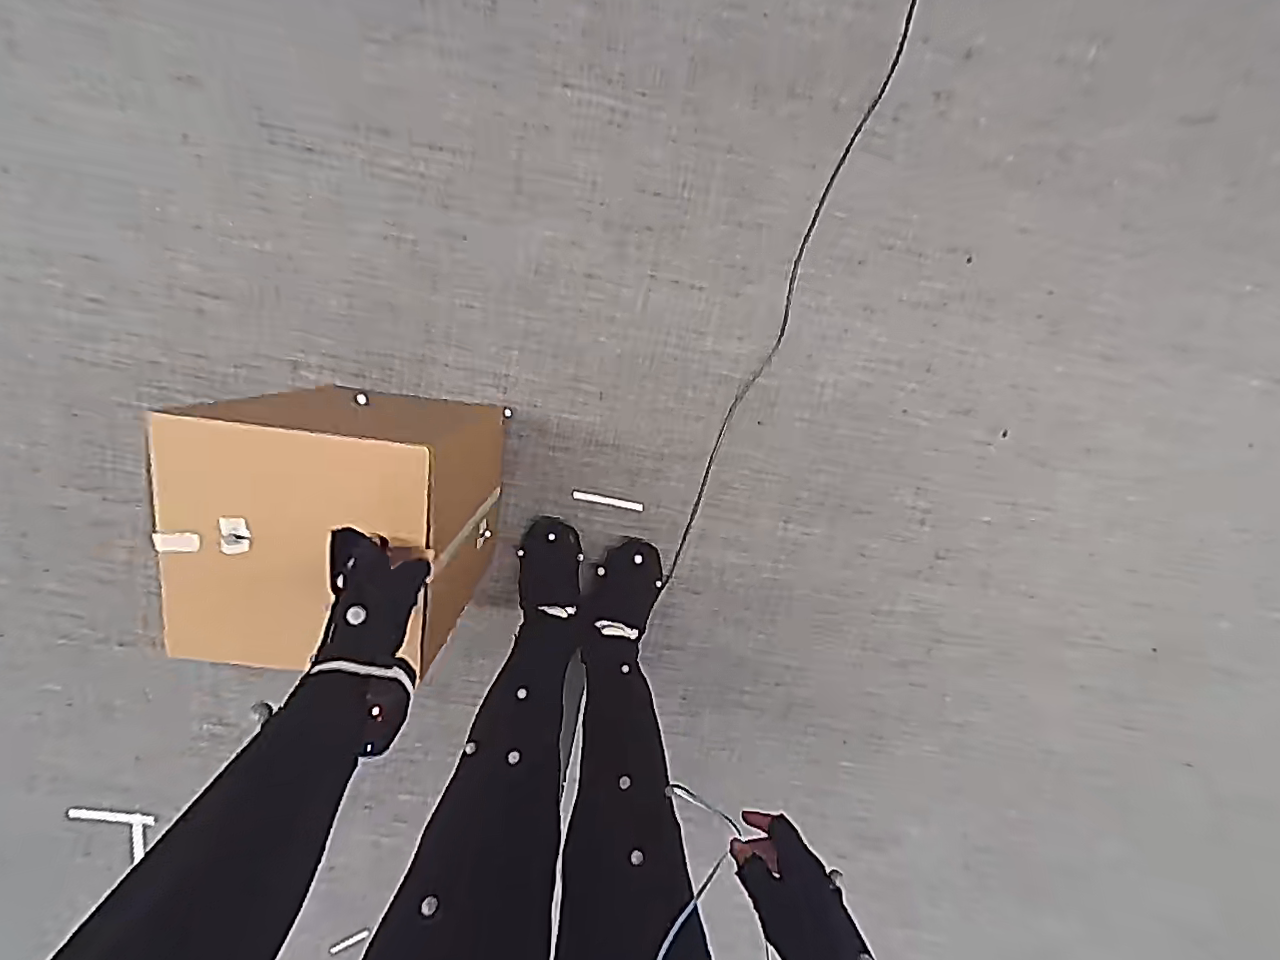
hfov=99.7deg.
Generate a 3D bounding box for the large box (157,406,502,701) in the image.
[{"bbox_3d":[-0.414,0.075,0.830,0.320,0.408,0.320,7,104,-5],"label":"large box"}]
